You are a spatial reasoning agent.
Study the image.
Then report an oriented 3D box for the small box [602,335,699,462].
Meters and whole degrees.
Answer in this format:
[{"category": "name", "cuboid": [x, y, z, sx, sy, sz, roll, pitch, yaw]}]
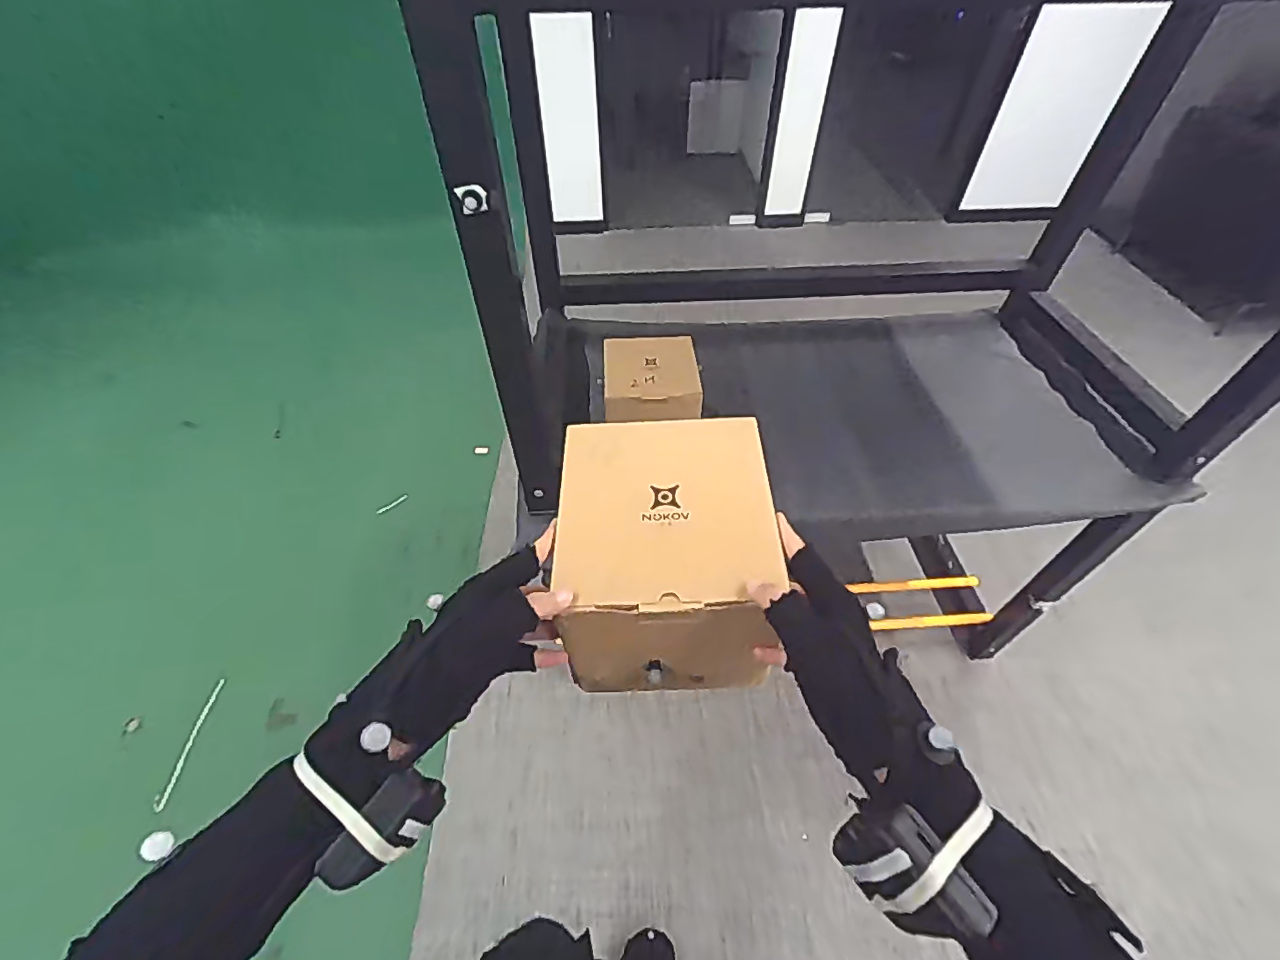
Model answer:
[{"category": "small box", "cuboid": [0.015, -0.153, 1.016, 0.168, 0.176, 0.179, -3, 48, -1]}]
